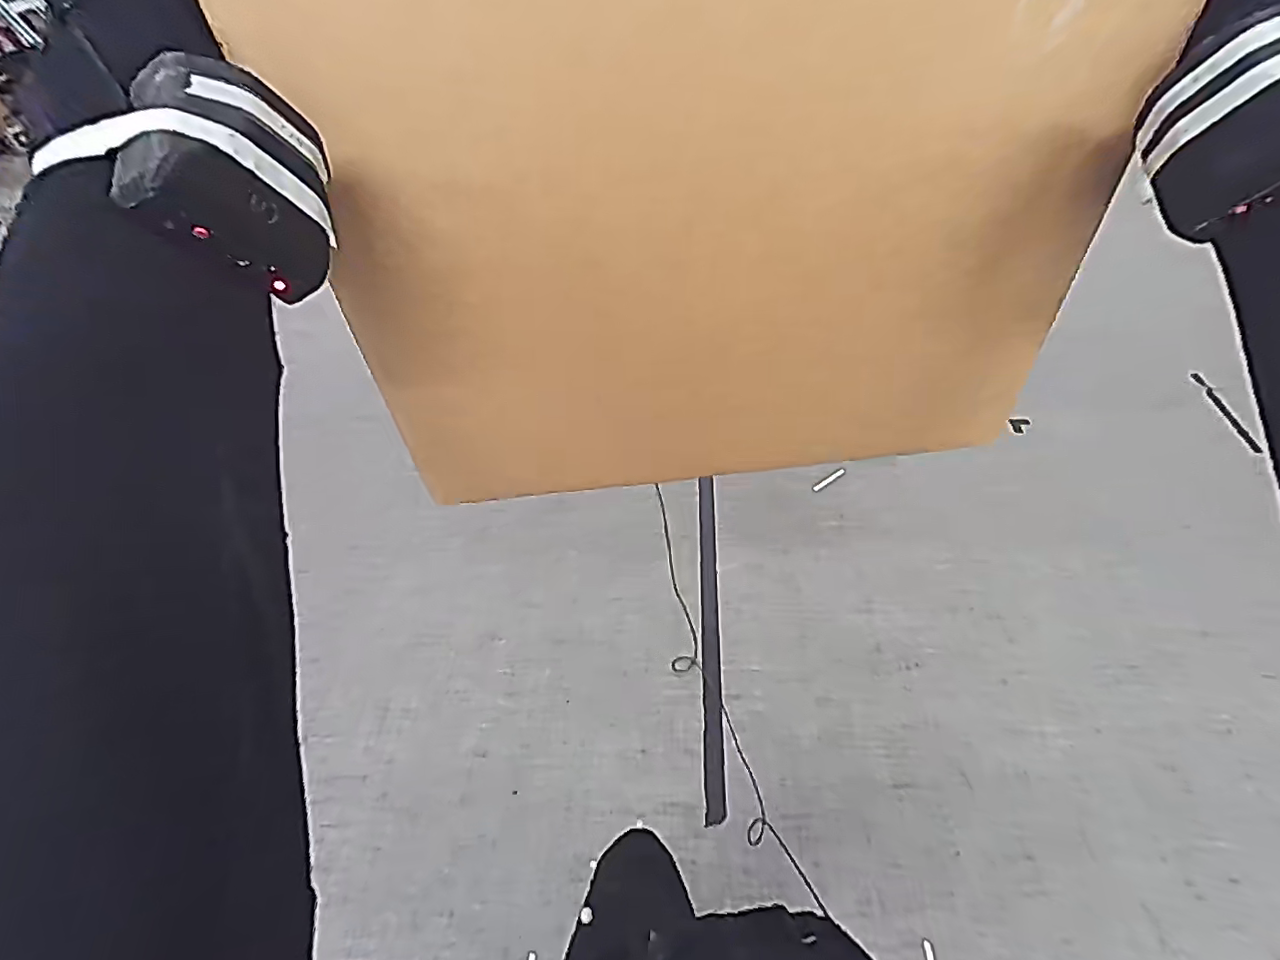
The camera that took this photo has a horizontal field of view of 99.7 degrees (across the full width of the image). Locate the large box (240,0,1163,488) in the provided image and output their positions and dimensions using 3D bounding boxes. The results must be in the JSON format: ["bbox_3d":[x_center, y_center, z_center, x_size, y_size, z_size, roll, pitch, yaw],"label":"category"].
[{"bbox_3d":[0.028,-0.221,0.400,0.408,0.320,0.320,-6,42,-2],"label":"large box"}]
